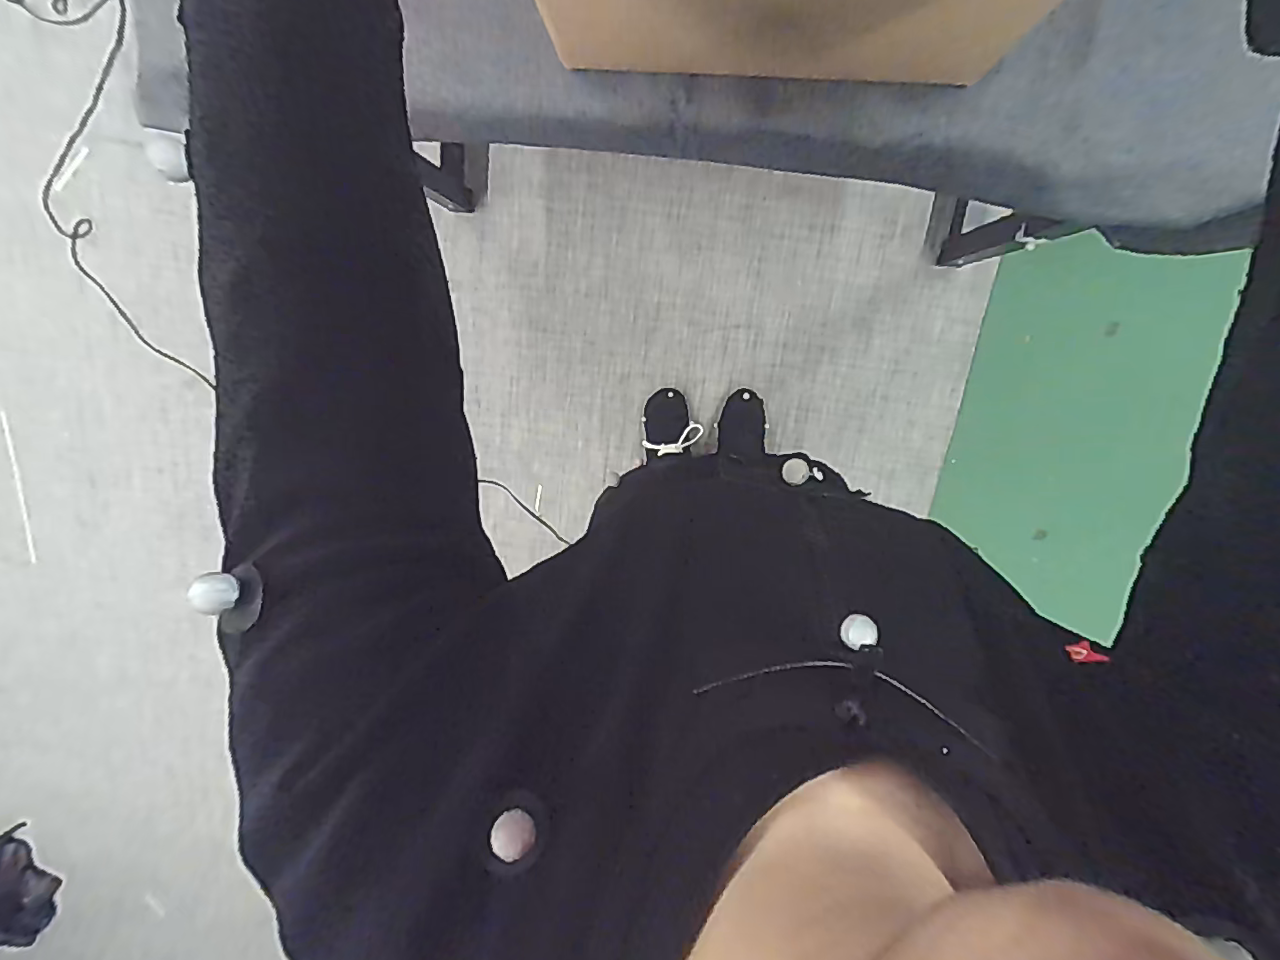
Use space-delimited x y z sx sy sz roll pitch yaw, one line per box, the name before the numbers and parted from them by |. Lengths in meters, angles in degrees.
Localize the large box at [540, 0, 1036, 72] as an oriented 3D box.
large box | 0.115 -0.517 0.353 0.408 0.320 0.320 4 103 3
